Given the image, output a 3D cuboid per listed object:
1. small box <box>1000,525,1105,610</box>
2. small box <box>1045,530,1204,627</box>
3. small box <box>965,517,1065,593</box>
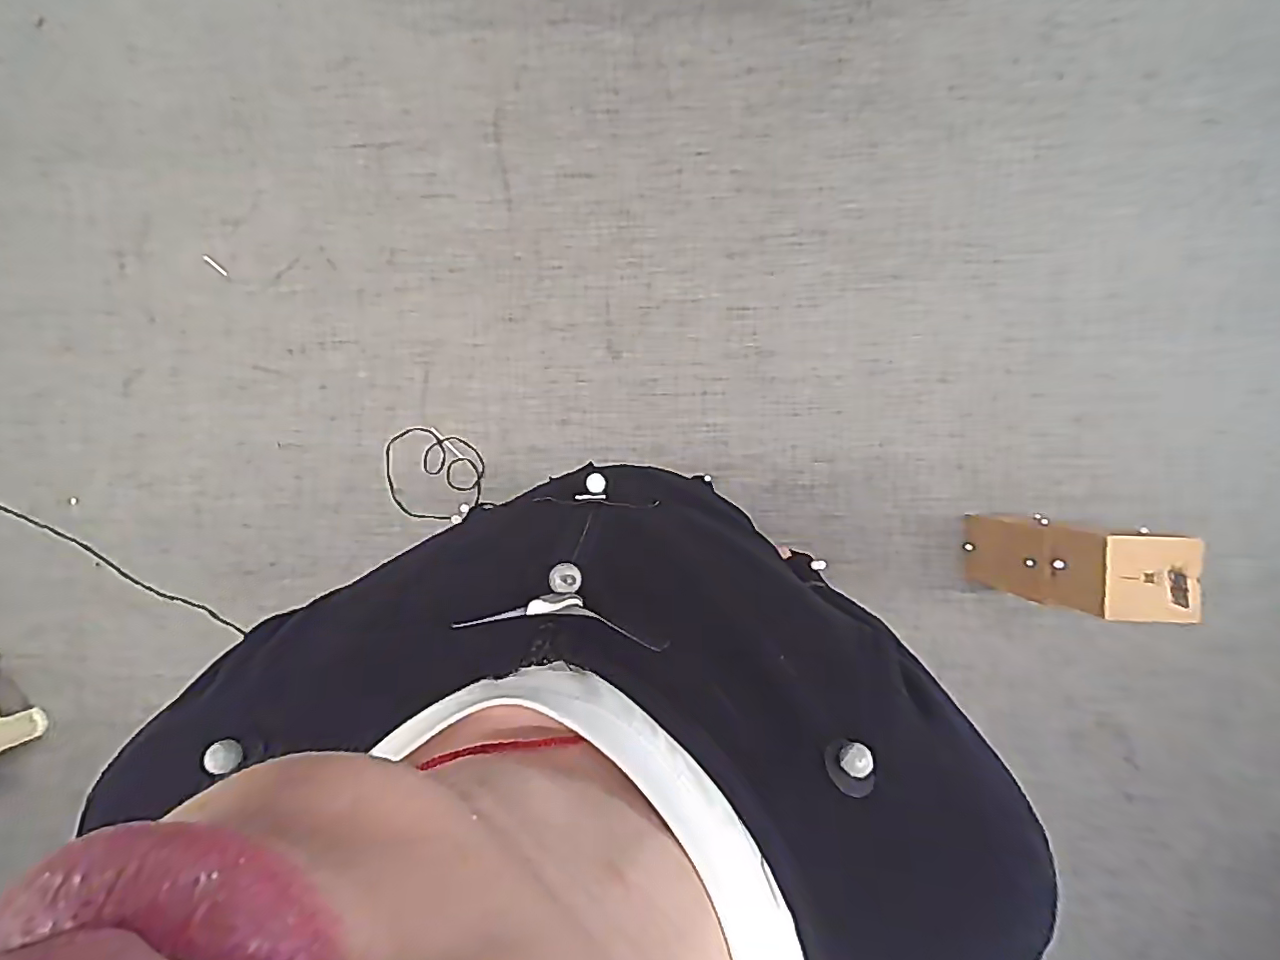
[{"bbox_3d":[0.981,0.200,1.271,0.168,0.176,0.179,1,92,3],"label":"small box"},{"bbox_3d":[0.981,0.194,1.106,0.179,0.176,0.168,2,90,4],"label":"small box"},{"bbox_3d":[0.991,0.196,1.433,0.168,0.176,0.179,1,92,3],"label":"small box"}]
